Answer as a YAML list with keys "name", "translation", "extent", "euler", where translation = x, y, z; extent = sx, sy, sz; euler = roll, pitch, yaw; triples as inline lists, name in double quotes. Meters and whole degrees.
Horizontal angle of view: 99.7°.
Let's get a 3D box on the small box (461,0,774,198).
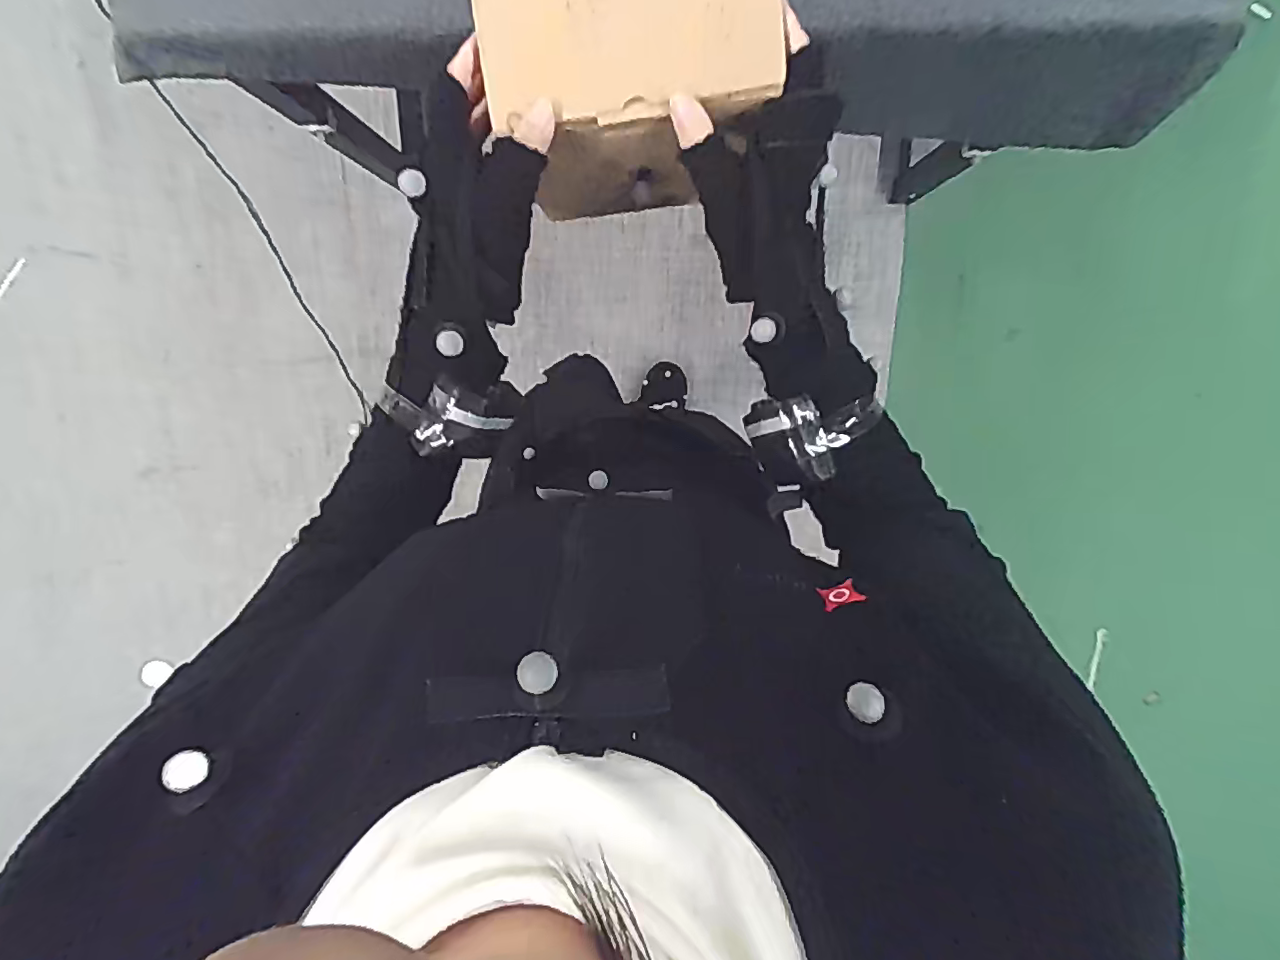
- name: "small box"
  translation: [-0.014, -0.303, 0.355]
  extent: [0.168, 0.176, 0.179]
  euler: [-7, 101, 3]
